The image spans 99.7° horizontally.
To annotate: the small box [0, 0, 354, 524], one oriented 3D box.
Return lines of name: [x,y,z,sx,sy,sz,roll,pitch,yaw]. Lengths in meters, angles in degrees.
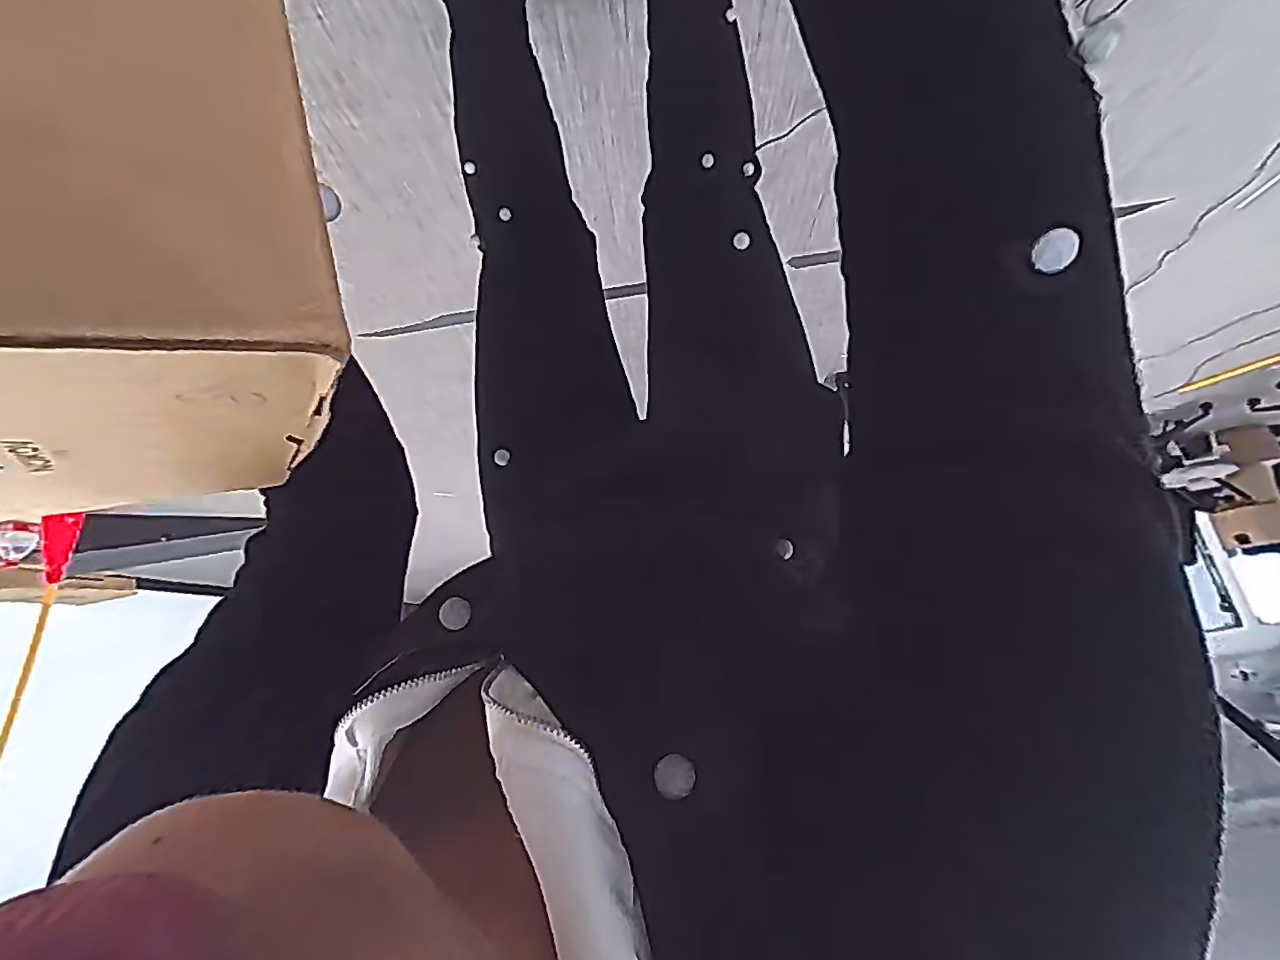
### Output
small box: [-0.204,-0.082,0.151,0.179,0.176,0.168,-8,172,-39]
